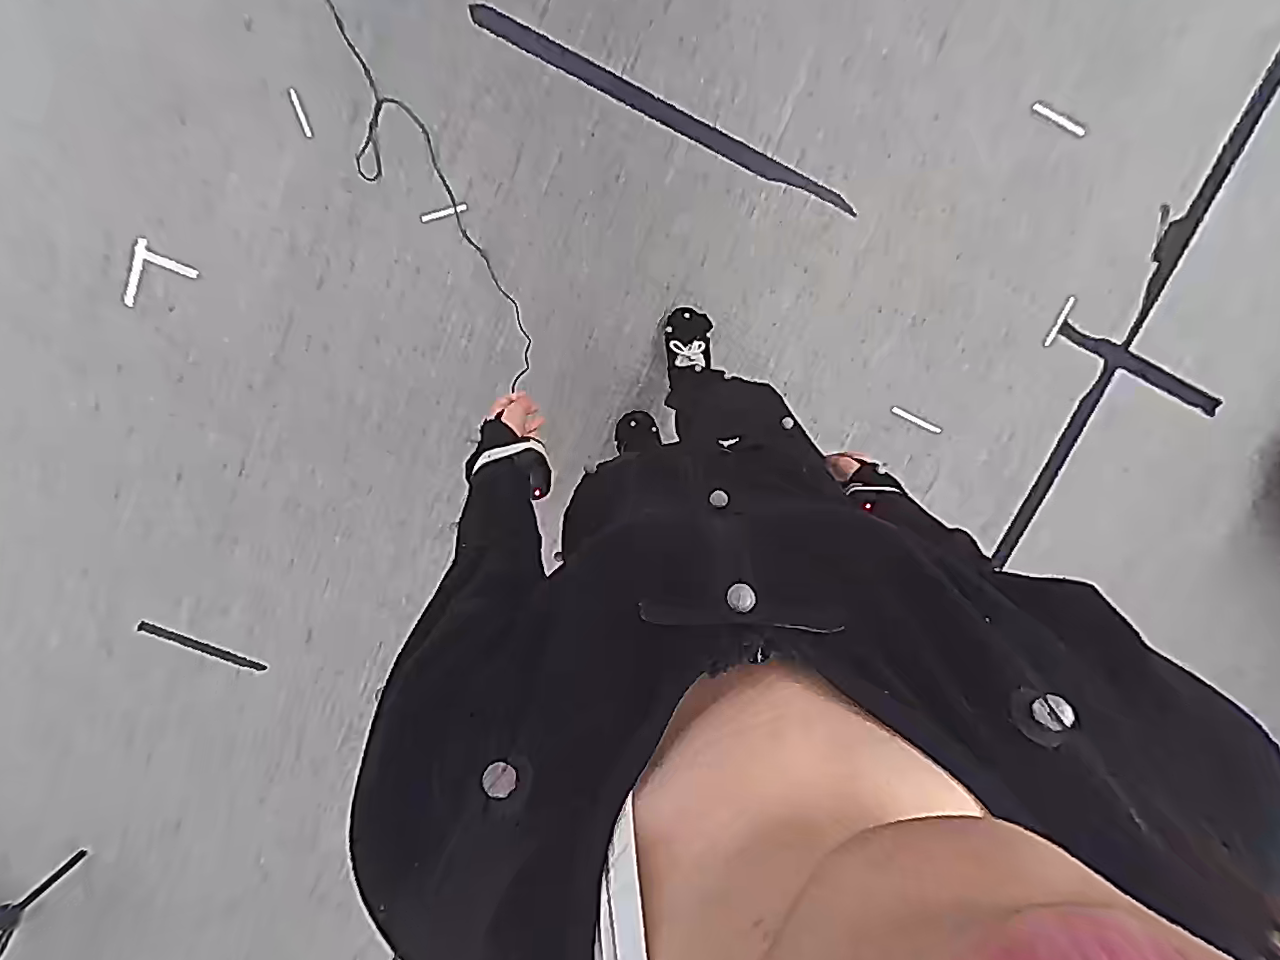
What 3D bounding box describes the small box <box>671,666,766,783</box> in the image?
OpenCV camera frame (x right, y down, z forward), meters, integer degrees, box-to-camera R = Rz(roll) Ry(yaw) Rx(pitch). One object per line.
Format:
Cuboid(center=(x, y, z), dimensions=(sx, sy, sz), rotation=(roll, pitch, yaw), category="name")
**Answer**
Cuboid(center=(0.190, 0.613, 1.374), dimensions=(0.168, 0.176, 0.179), rotation=(28, 98, -7), category="small box")
